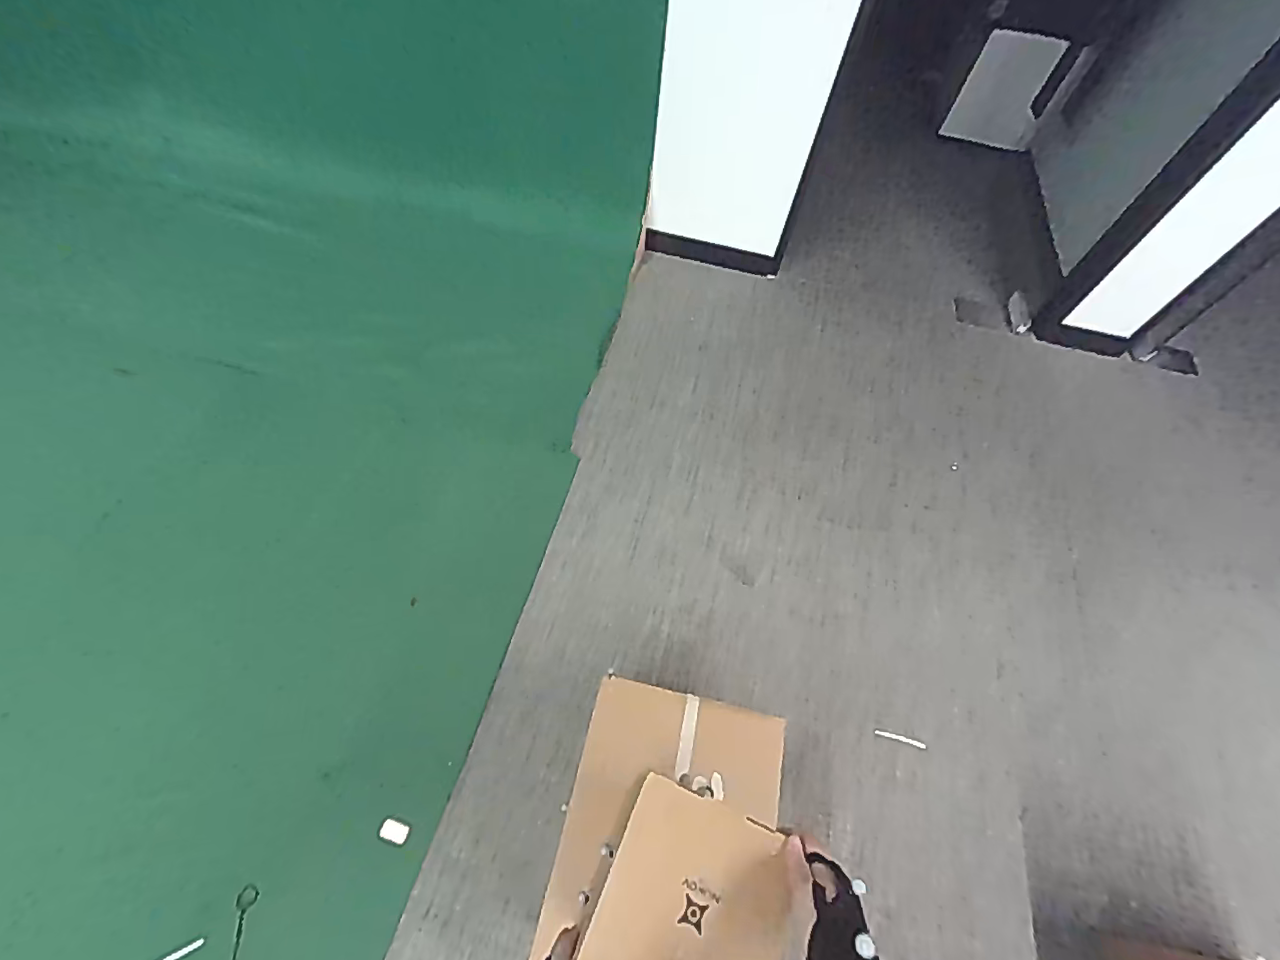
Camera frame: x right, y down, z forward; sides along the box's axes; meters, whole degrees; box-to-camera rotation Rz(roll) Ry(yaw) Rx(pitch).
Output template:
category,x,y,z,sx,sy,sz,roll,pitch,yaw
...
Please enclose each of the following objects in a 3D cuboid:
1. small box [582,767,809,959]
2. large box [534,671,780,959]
category,x,y,z,sx,sy,sz,roll,pitch,yaw
small box,0.049,0.423,0.555,0.168,0.176,0.179,22,61,9
large box,0.035,0.596,0.925,0.320,0.320,0.408,13,58,3
